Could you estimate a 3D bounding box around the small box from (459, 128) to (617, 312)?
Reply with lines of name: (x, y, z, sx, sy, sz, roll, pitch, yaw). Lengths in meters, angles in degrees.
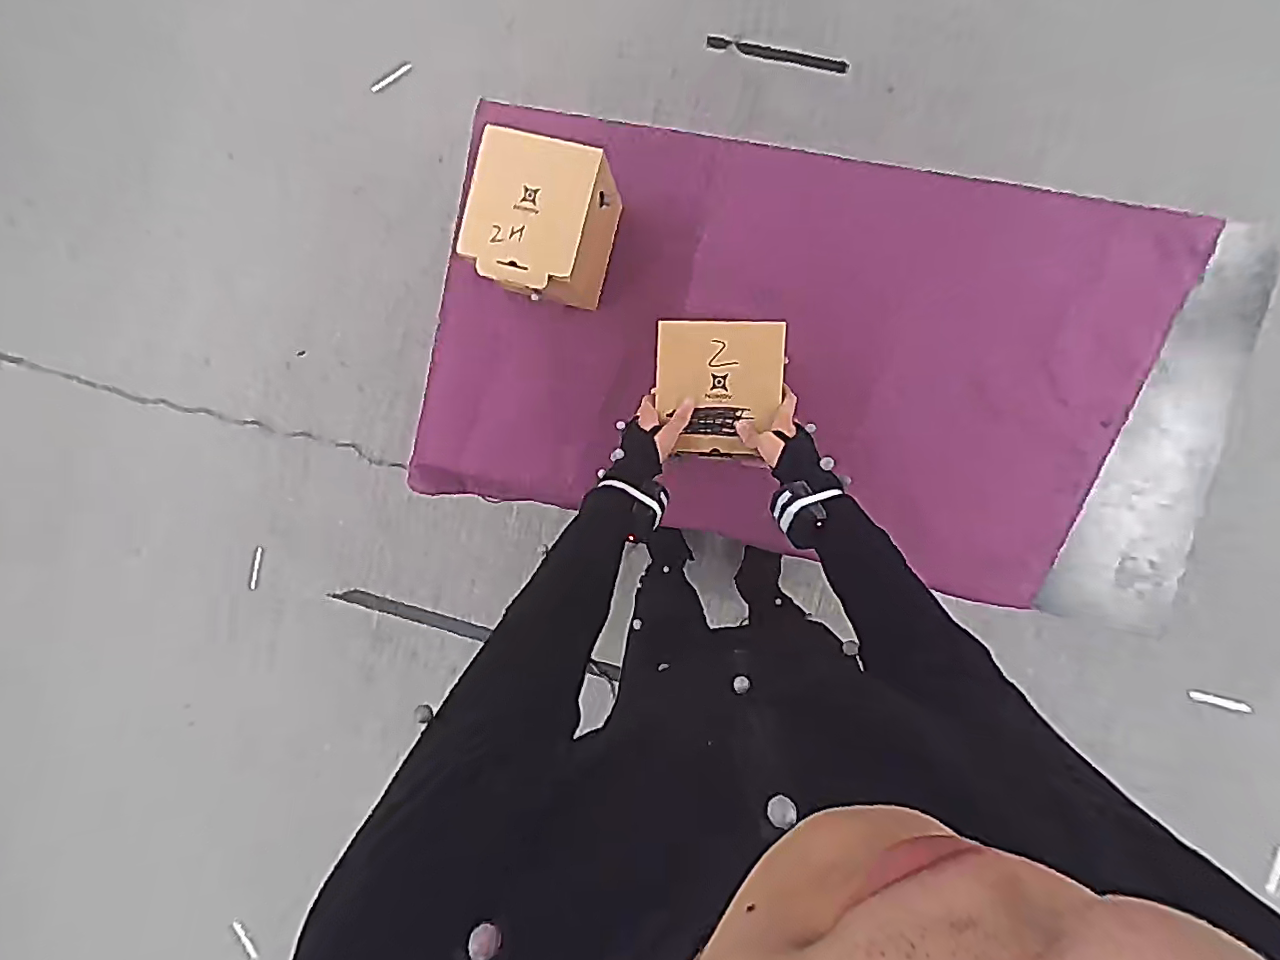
small box: (-0.138, -0.369, 0.796, 0.168, 0.176, 0.179, 15, 95, 6)
